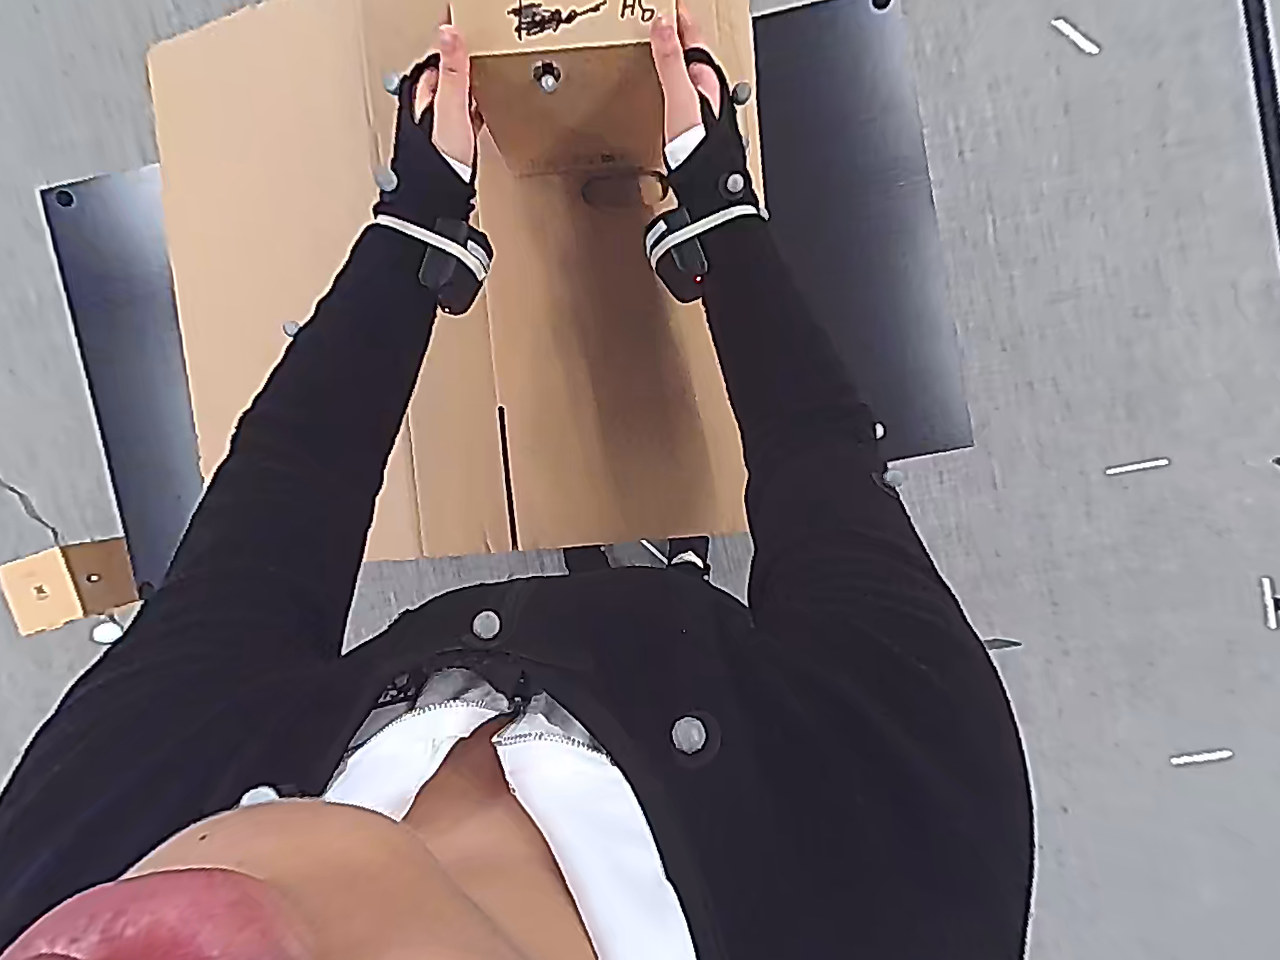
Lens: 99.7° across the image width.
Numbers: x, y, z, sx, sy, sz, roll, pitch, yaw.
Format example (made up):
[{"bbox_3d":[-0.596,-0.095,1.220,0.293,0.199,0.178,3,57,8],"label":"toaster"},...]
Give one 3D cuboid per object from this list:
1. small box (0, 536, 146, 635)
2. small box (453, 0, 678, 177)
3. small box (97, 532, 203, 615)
[{"bbox_3d":[-1.375,0.251,1.324,0.168,0.176,0.179,-18,91,3],"label":"small box"},{"bbox_3d":[-0.058,-0.401,0.474,0.168,0.176,0.179,-4,91,1],"label":"small box"},{"bbox_3d":[-1.363,0.247,1.486,0.168,0.176,0.179,-15,93,4],"label":"small box"}]
